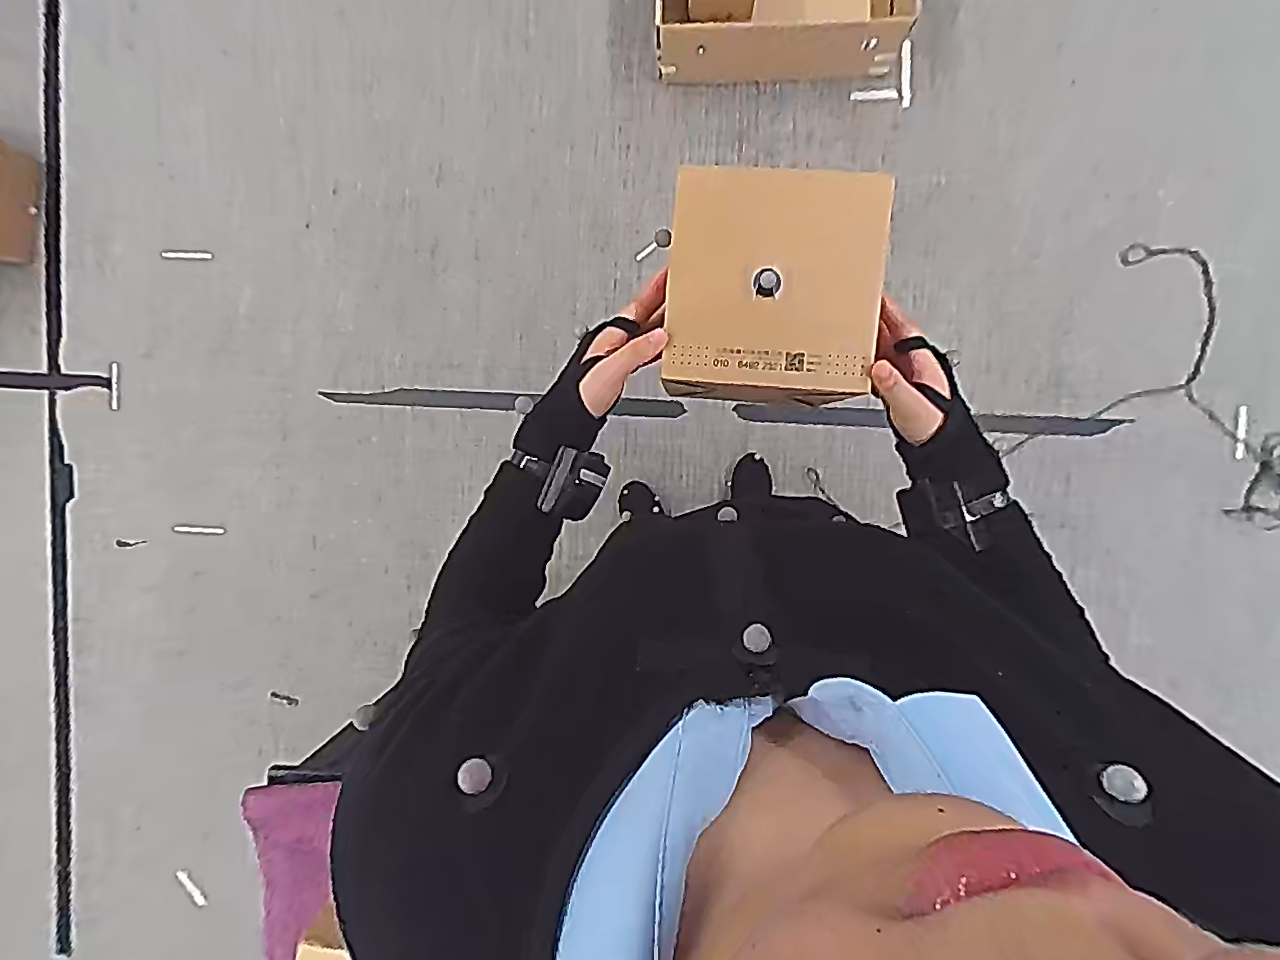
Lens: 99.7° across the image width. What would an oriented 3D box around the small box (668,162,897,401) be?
[{"bbox_3d":[0.116,-0.164,0.499,0.168,0.179,0.176,6,95,5],"label":"small box"}]
